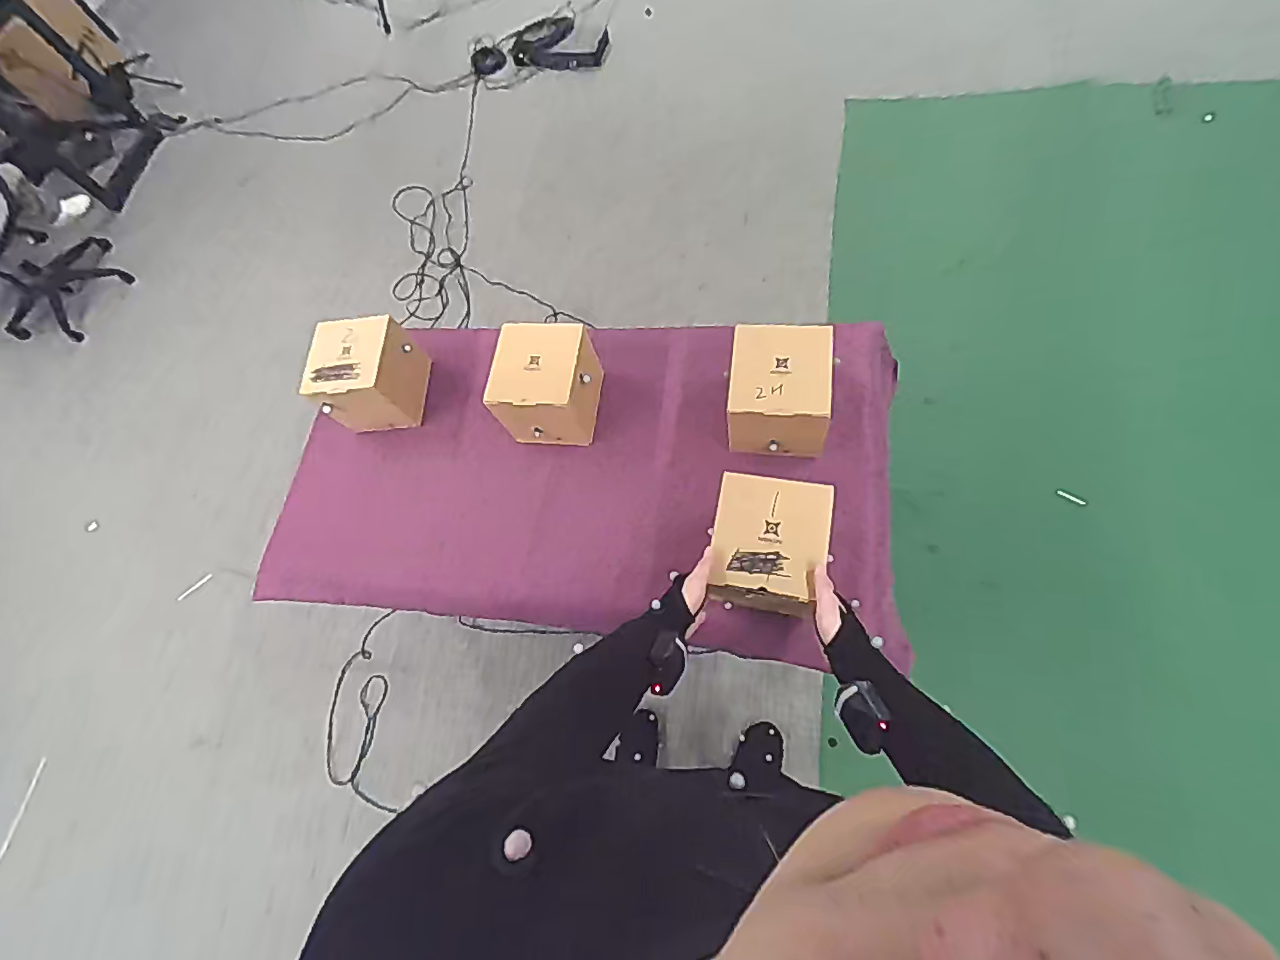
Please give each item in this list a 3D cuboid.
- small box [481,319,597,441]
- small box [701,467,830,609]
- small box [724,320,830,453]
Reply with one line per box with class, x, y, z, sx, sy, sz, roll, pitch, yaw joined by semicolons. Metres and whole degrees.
small box;-0.188;-0.194;1.064;0.168;0.176;0.179;4;71;11
small box;0.198;0.098;0.858;0.168;0.176;0.179;8;71;14
small box;0.243;-0.165;0.976;0.168;0.176;0.179;5;71;12
